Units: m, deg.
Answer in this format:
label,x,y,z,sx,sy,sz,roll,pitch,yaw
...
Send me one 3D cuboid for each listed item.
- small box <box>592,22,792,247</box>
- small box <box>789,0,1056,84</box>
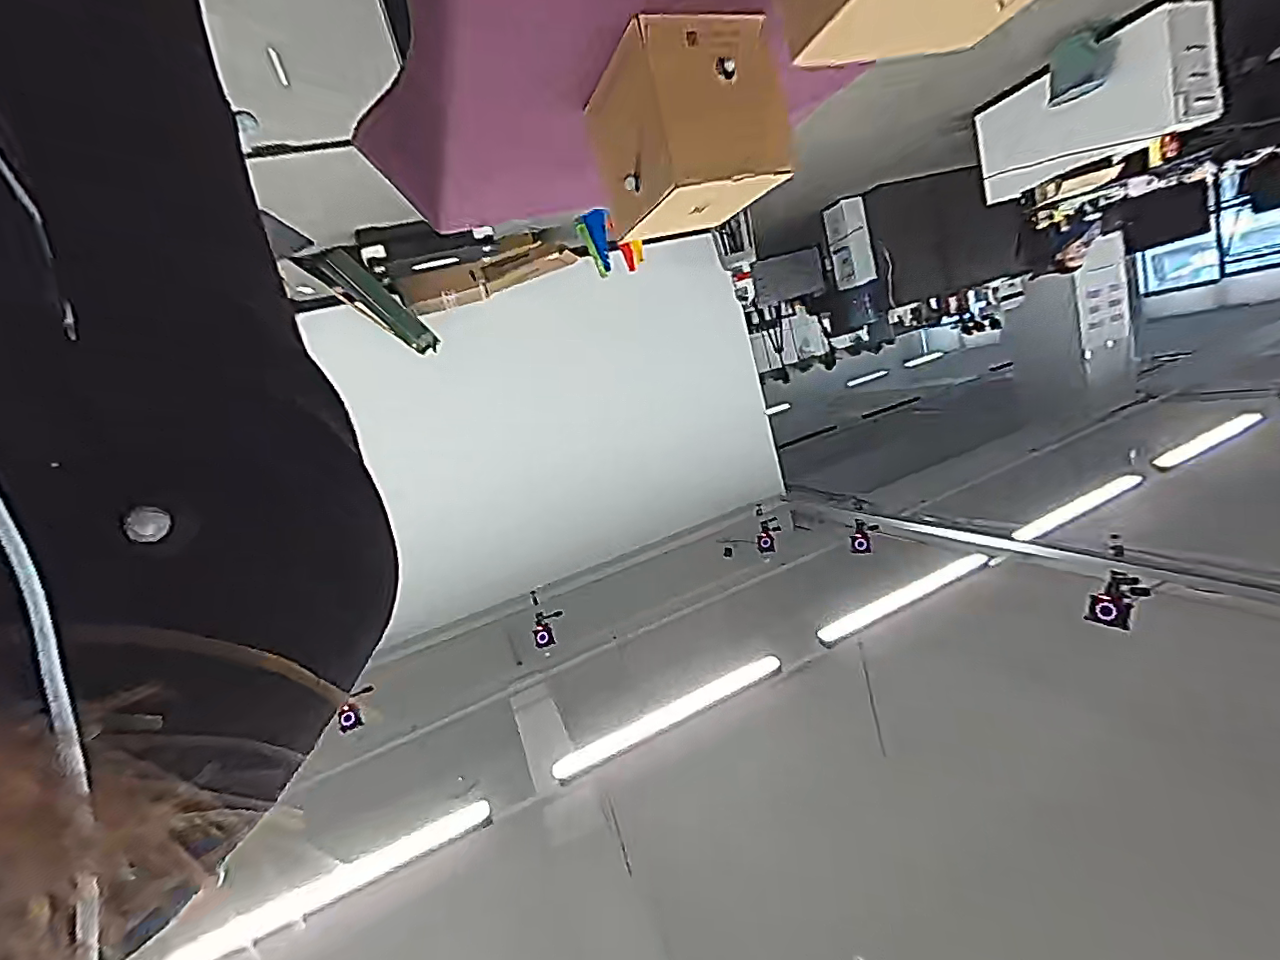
label,x,y,z,sx,sy,sz,roll,pitch,yaw
small box,0.054,-0.408,0.660,0.168,0.176,0.179,-20,-169,-21
small box,0.186,-0.374,0.311,0.179,0.176,0.168,-20,-168,-17
